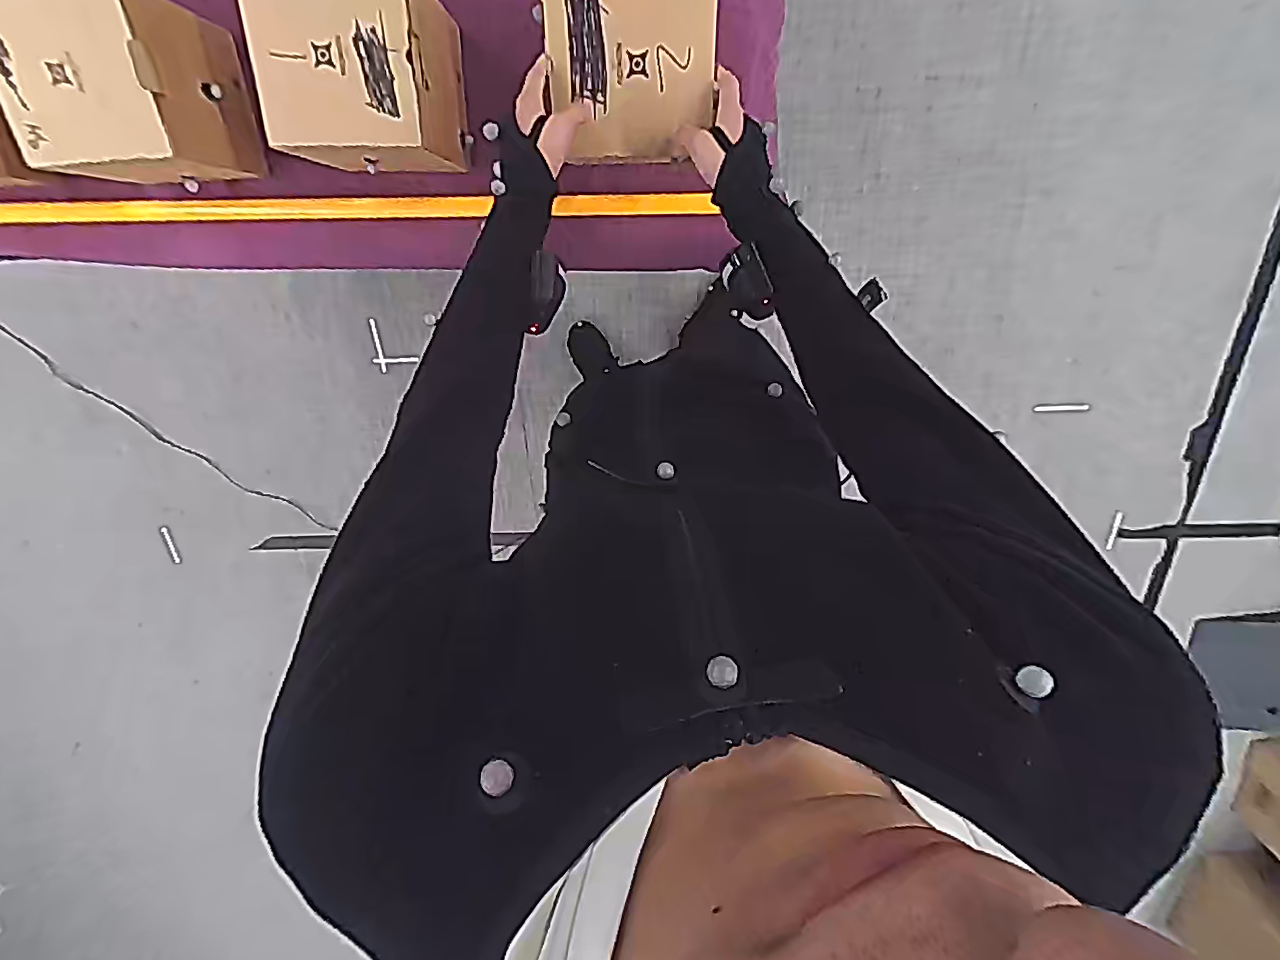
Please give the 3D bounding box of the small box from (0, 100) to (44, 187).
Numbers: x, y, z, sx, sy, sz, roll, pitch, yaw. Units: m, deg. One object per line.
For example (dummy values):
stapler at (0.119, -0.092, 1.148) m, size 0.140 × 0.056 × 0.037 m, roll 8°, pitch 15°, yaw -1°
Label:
small box at (-0.901, -0.459, 0.656) m, size 0.179 × 0.176 × 0.168 m, roll -2°, pitch 112°, yaw 0°

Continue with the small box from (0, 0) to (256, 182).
small box at (-0.606, -0.462, 0.649) m, size 0.179 × 0.176 × 0.168 m, roll -2°, pitch 112°, yaw 2°

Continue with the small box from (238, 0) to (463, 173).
small box at (-0.321, -0.471, 0.639) m, size 0.179 × 0.176 × 0.168 m, roll 2°, pitch 111°, yaw 2°
